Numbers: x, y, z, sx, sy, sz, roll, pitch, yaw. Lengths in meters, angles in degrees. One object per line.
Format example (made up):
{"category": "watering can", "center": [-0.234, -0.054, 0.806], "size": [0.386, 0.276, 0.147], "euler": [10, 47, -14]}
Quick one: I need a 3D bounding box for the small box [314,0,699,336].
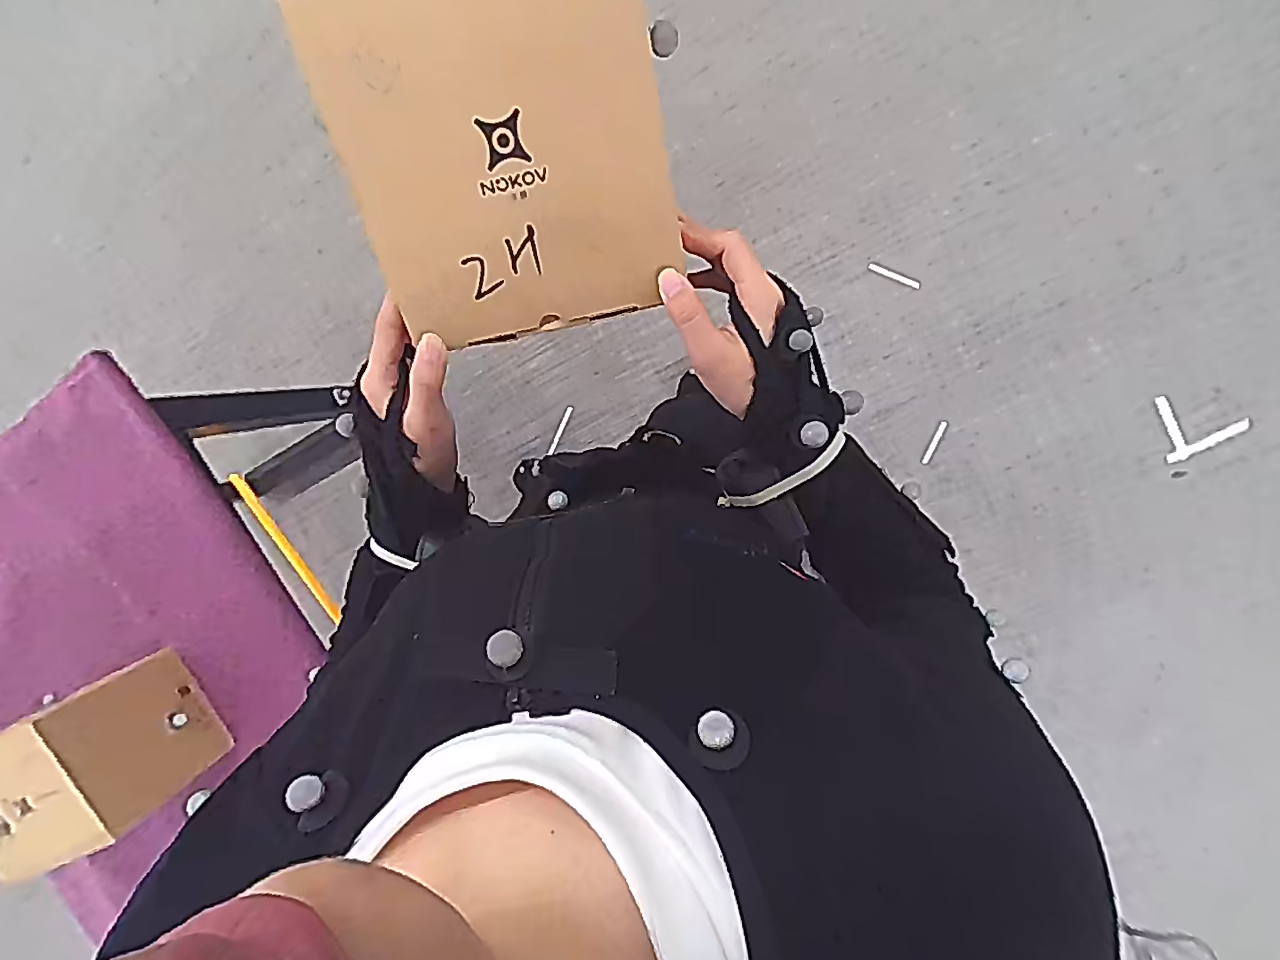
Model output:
{"category": "small box", "center": [-0.062, -0.206, 0.347], "size": [0.168, 0.176, 0.179], "euler": [-9, 116, 4]}

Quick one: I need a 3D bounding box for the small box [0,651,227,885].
{"category": "small box", "center": [-0.686, 0.348, 0.680], "size": [0.179, 0.176, 0.168], "euler": [-25, 98, 10]}

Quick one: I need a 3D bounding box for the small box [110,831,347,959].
{"category": "small box", "center": [-0.539, 0.623, 0.721], "size": [0.168, 0.176, 0.179], "euler": [-26, 97, 10]}
